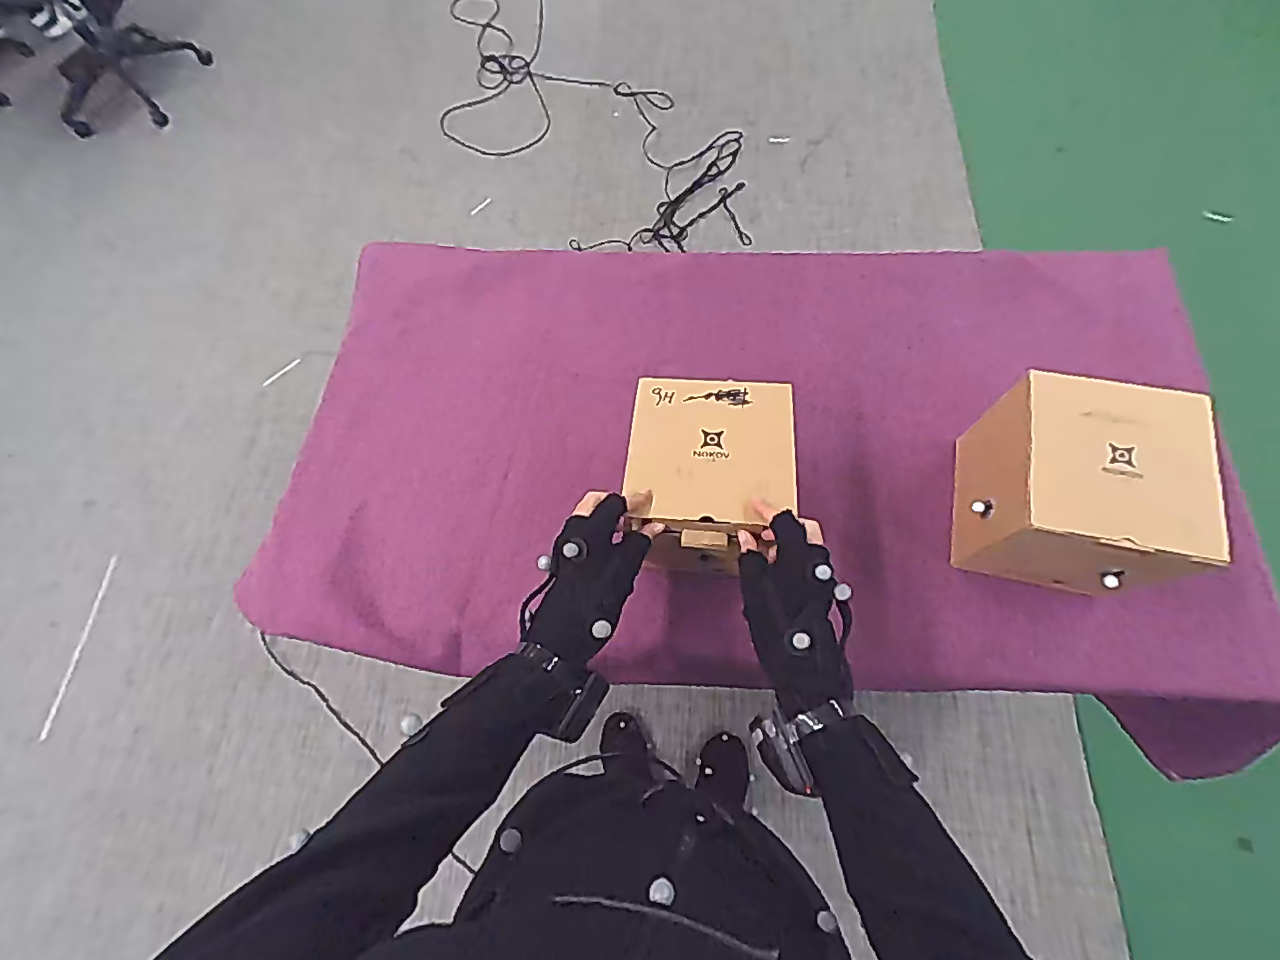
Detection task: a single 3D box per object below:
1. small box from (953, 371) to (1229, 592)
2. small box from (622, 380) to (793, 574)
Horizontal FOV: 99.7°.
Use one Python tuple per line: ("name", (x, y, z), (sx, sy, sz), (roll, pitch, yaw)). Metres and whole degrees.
("small box", (0.464, 0.011, 0.587), (0.168, 0.176, 0.179), (12, 70, 10))
("small box", (0.079, 0.005, 0.626), (0.168, 0.176, 0.179), (4, 69, 6))
